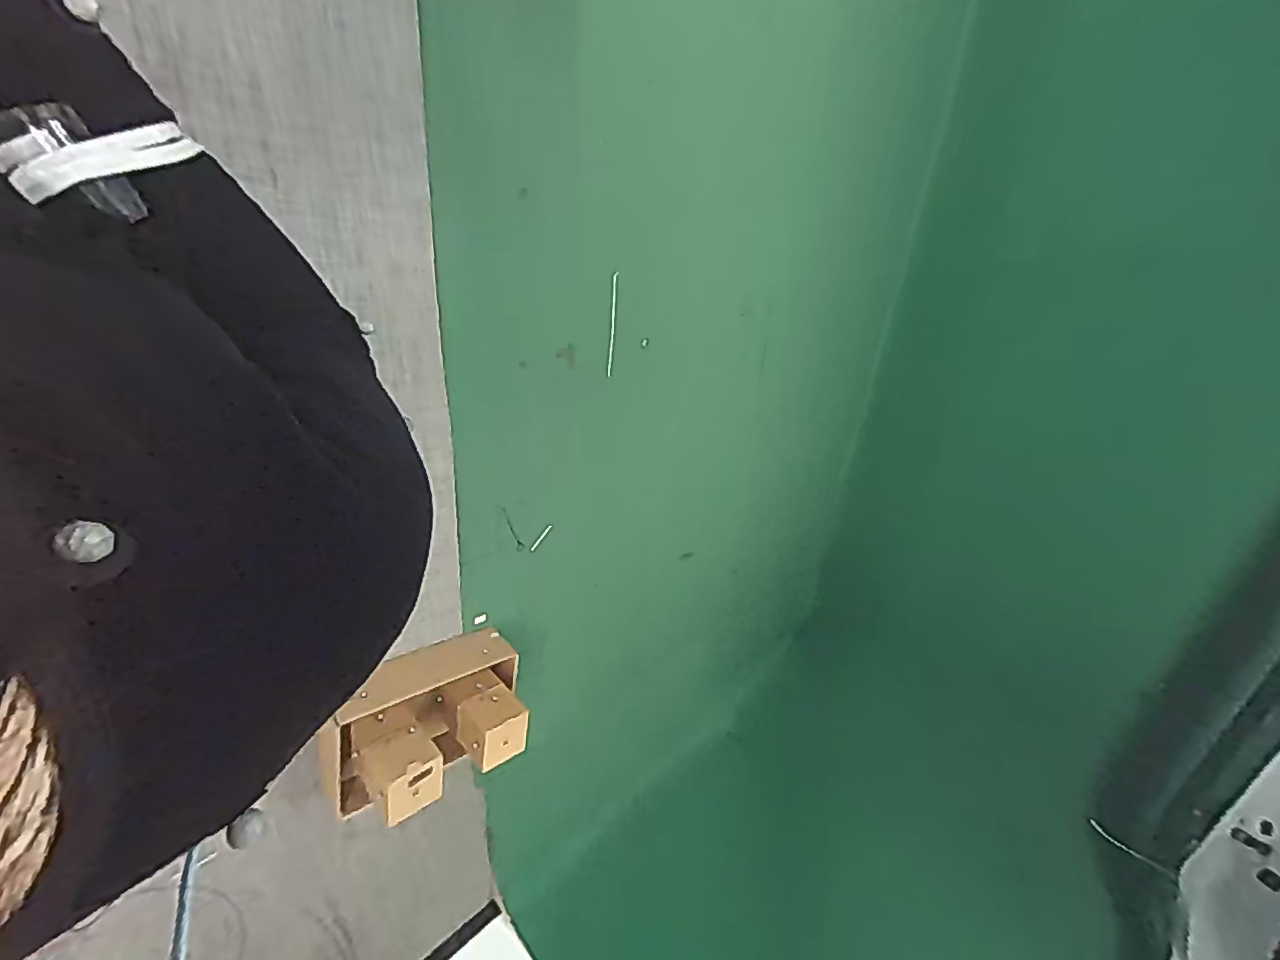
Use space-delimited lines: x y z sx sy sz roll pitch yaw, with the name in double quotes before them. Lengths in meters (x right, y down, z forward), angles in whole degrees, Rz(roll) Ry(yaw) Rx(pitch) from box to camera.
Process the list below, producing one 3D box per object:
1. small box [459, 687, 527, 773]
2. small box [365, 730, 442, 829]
"small box" -0.511 0.855 1.865 0.168 0.176 0.179 -10 117 -45
"small box" -0.720 0.894 1.642 0.168 0.176 0.179 -13 120 -45
